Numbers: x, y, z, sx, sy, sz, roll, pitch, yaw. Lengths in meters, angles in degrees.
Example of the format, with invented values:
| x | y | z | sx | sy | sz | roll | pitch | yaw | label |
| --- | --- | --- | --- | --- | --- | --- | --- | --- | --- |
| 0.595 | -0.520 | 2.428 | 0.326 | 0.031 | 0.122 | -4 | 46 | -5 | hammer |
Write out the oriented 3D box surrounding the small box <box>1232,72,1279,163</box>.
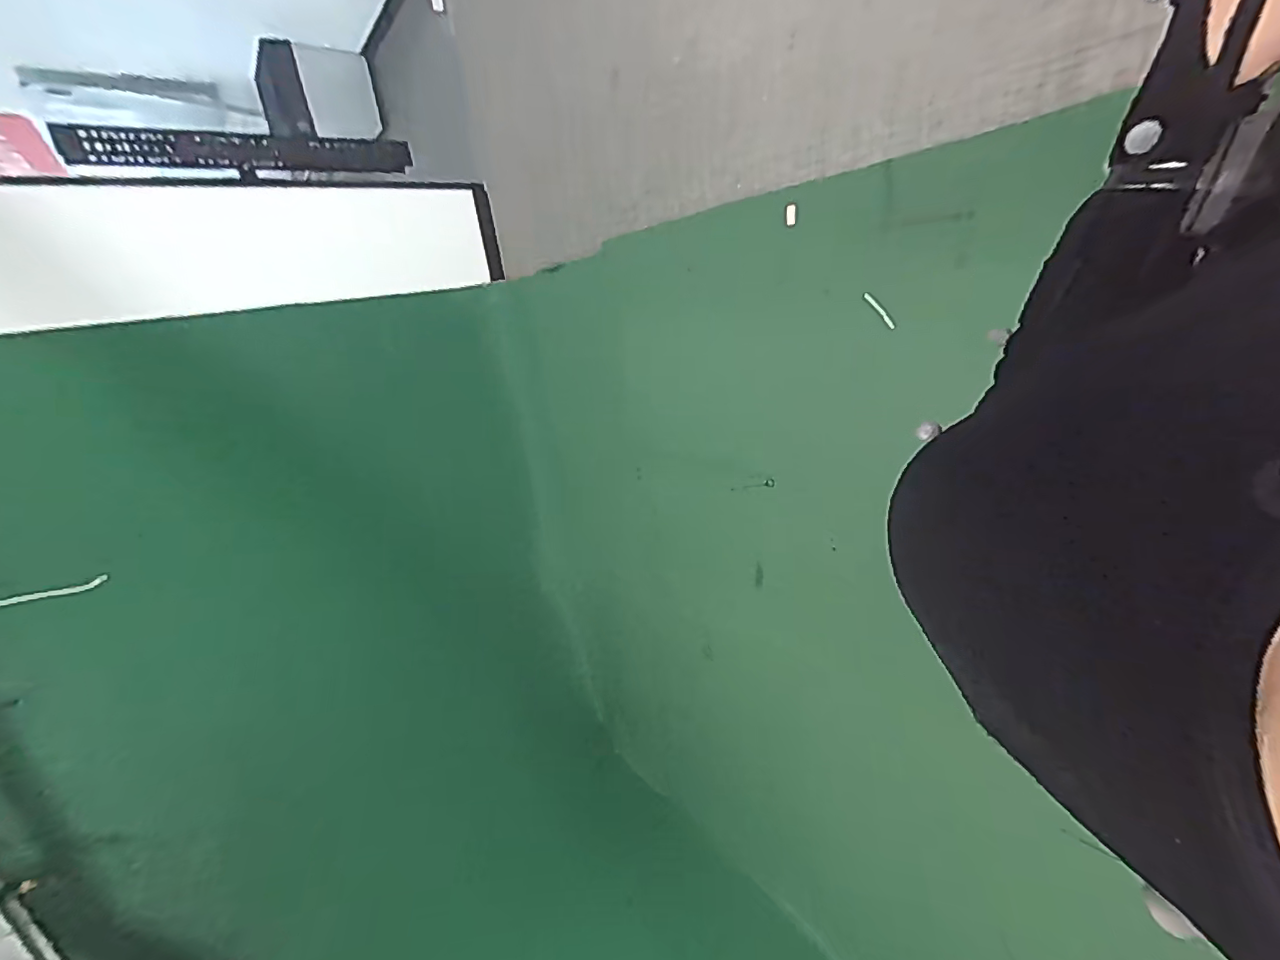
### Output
| x | y | z | sx | sy | sz | roll | pitch | yaw | label |
| --- | --- | --- | --- | --- | --- | --- | --- | --- | --- |
| 0.979 | -0.523 | 0.735 | 0.179 | 0.176 | 0.168 | 55 | 149 | 25 | small box |
